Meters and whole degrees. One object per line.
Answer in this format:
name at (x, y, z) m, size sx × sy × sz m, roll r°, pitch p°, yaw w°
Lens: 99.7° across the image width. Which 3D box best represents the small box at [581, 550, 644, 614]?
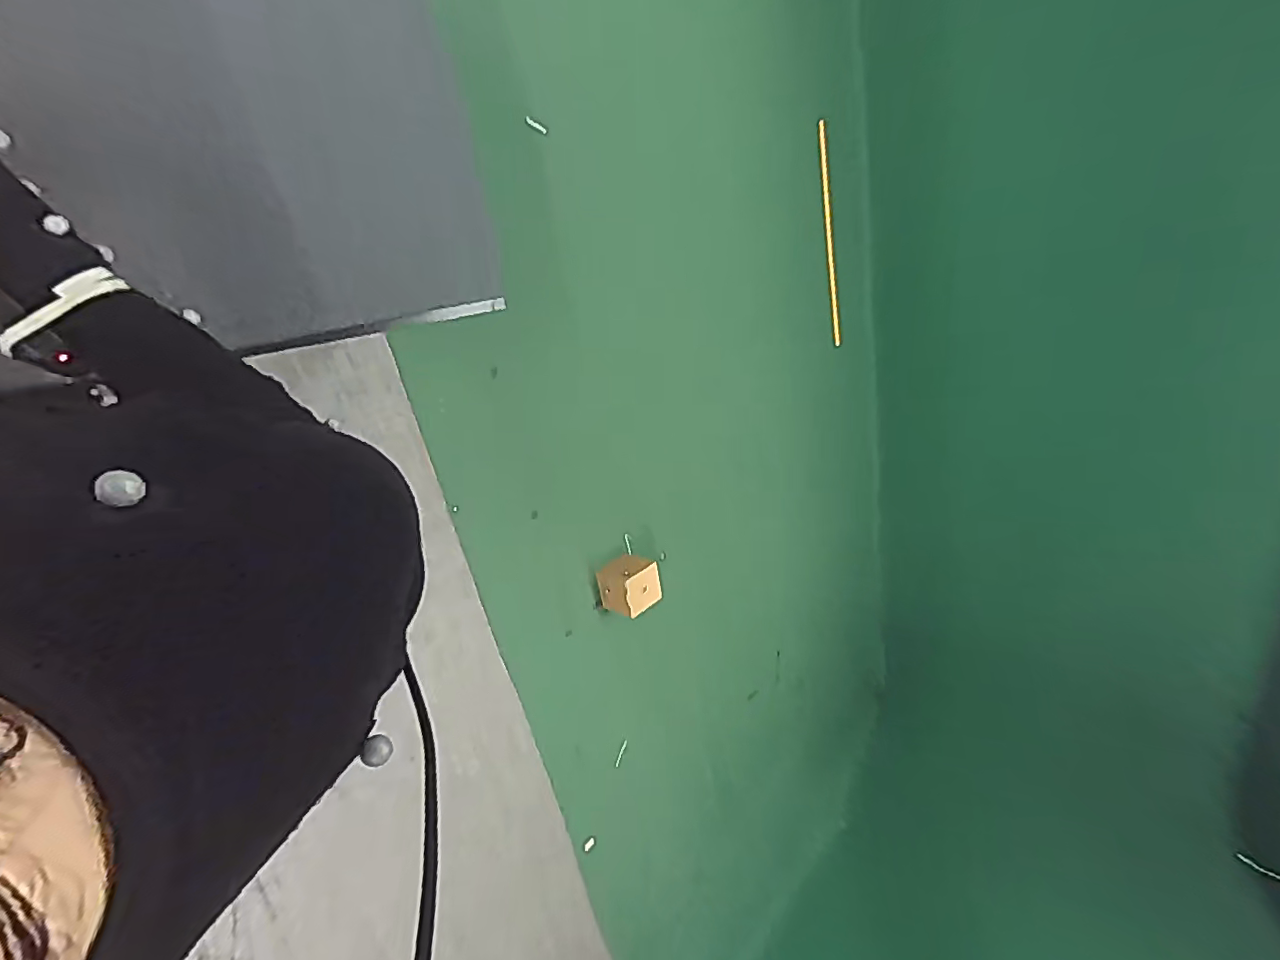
small box at (-0.110, 0.397, 2.142) m, size 0.179 × 0.176 × 0.168 m, roll -27°, pitch 116°, yaw -41°
